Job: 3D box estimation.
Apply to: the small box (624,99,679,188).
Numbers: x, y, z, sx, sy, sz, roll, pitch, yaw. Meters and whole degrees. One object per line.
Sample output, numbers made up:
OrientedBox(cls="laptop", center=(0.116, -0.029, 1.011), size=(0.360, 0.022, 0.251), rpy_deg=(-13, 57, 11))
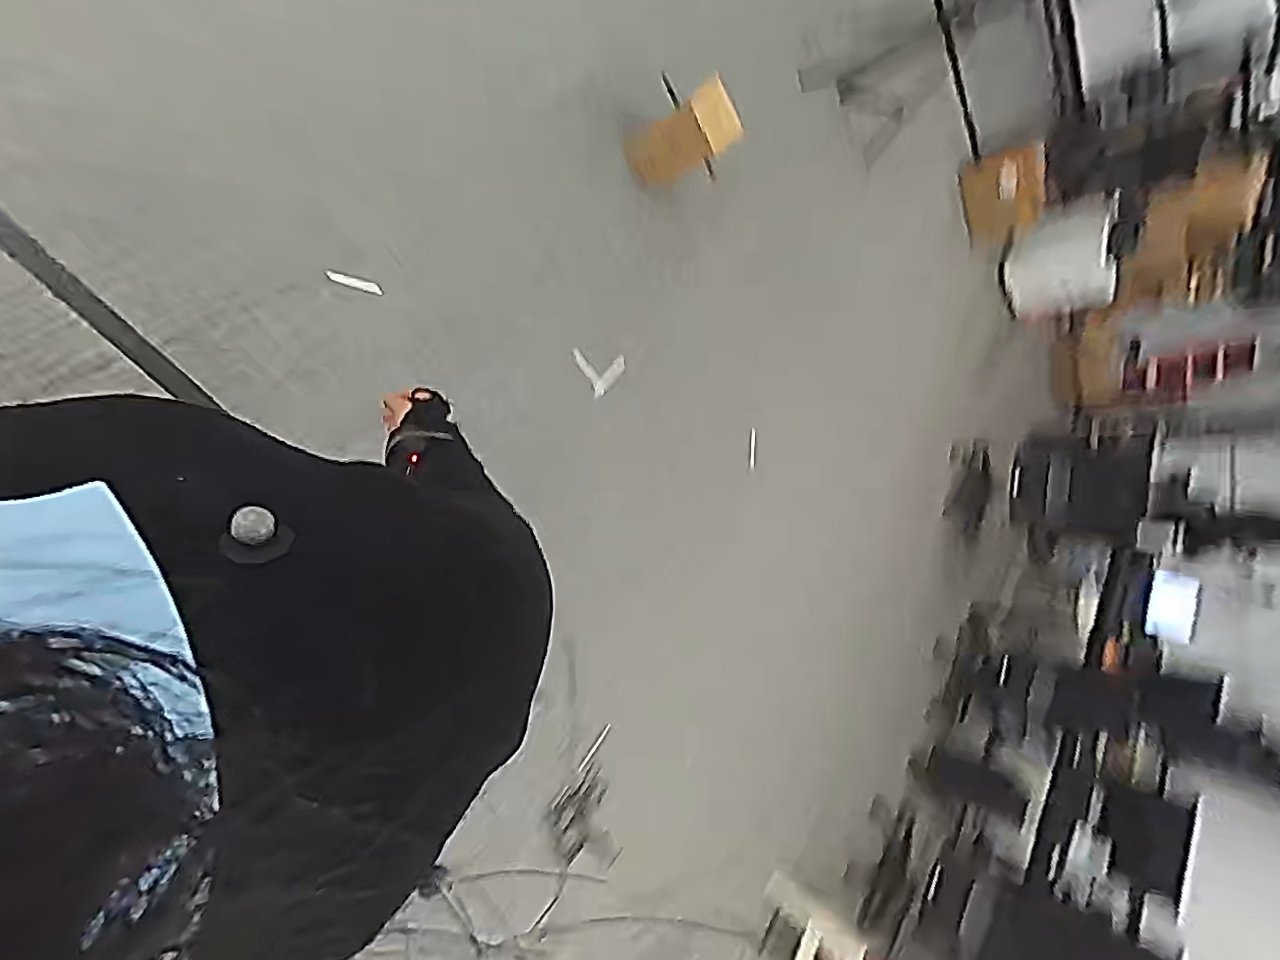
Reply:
OrientedBox(cls="small box", center=(0.070, -1.139, 1.844), size=(0.168, 0.176, 0.179), rpy_deg=(49, 63, -30))

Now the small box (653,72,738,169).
OrientedBox(cls="small box", center=(0.172, -1.134, 1.718), size=(0.168, 0.176, 0.179), rpy_deg=(50, 64, -29))
